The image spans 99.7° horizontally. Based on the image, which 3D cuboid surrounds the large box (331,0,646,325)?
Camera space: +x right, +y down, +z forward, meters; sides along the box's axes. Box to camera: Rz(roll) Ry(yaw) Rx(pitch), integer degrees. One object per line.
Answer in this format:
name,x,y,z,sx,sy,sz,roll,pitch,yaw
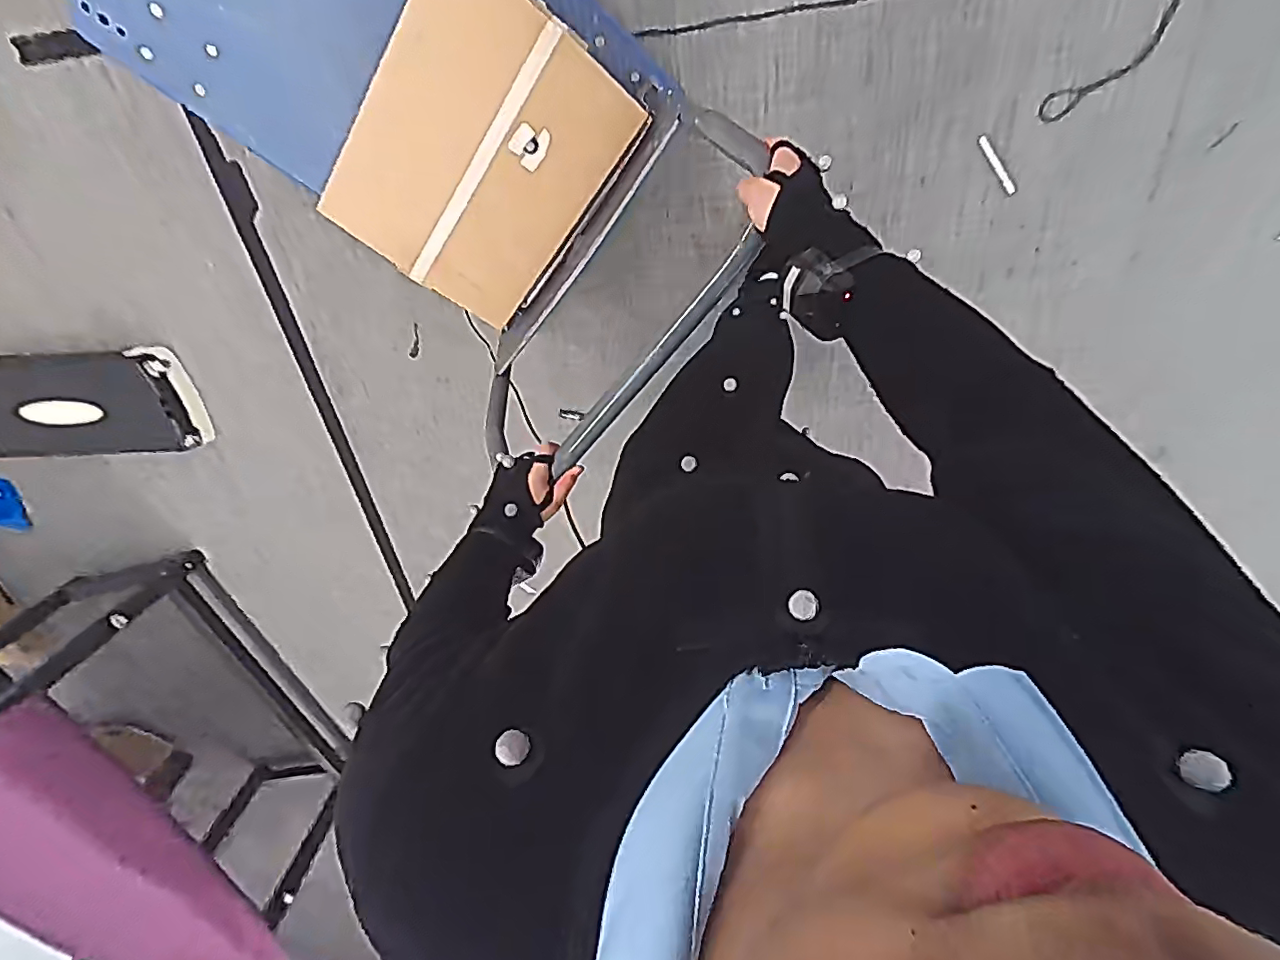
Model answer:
large box,-0.240,-0.552,0.908,0.320,0.320,0.408,30,118,-26
